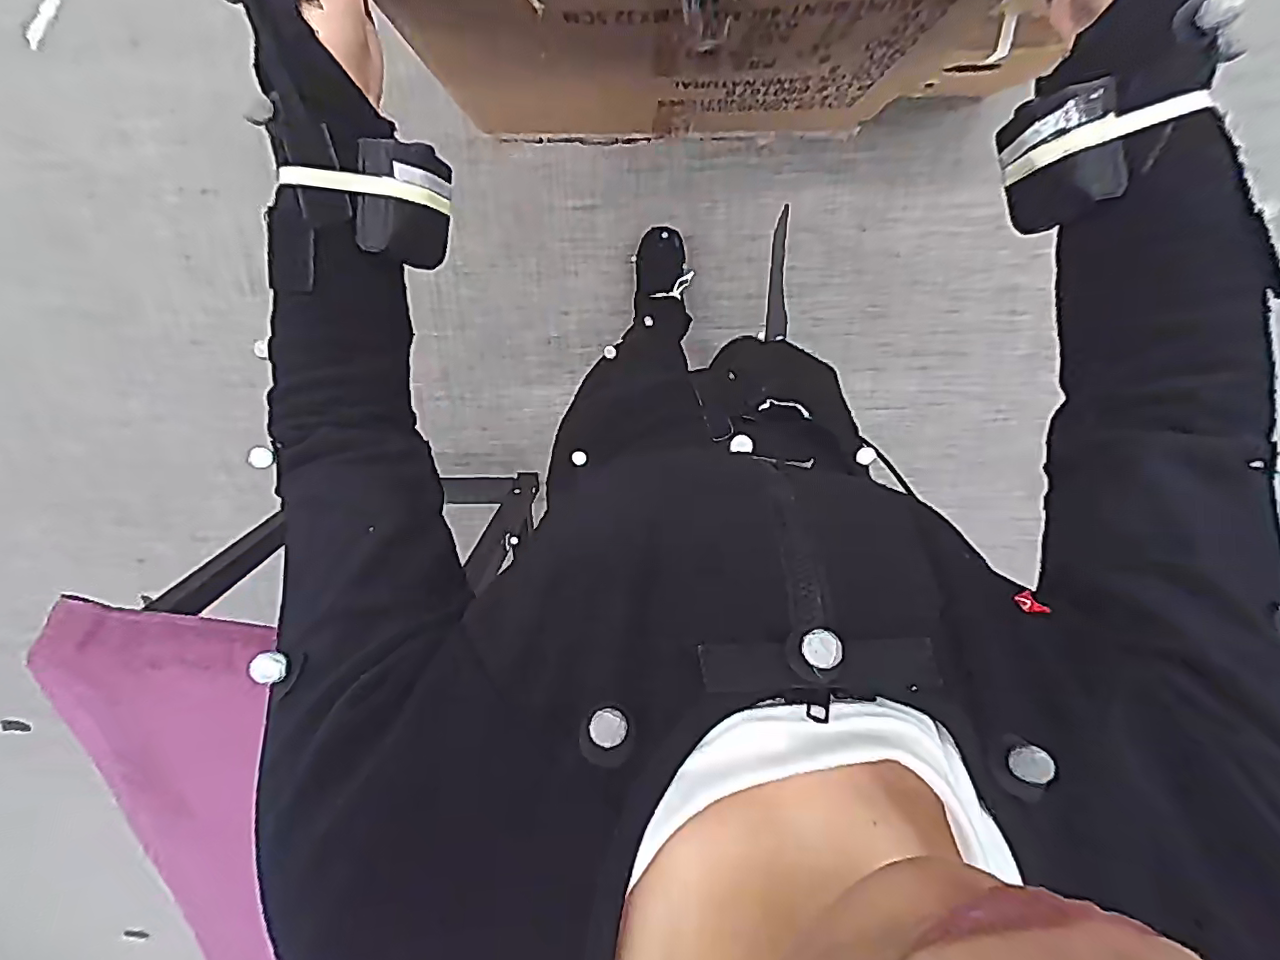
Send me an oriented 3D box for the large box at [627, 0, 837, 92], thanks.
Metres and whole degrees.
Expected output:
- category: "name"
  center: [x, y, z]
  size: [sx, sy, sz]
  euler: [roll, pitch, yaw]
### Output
- category: "large box"
  center: [0.130, -0.905, 0.867]
  size: [0.320, 0.320, 0.408]
  euler: [-2, 115, 3]
